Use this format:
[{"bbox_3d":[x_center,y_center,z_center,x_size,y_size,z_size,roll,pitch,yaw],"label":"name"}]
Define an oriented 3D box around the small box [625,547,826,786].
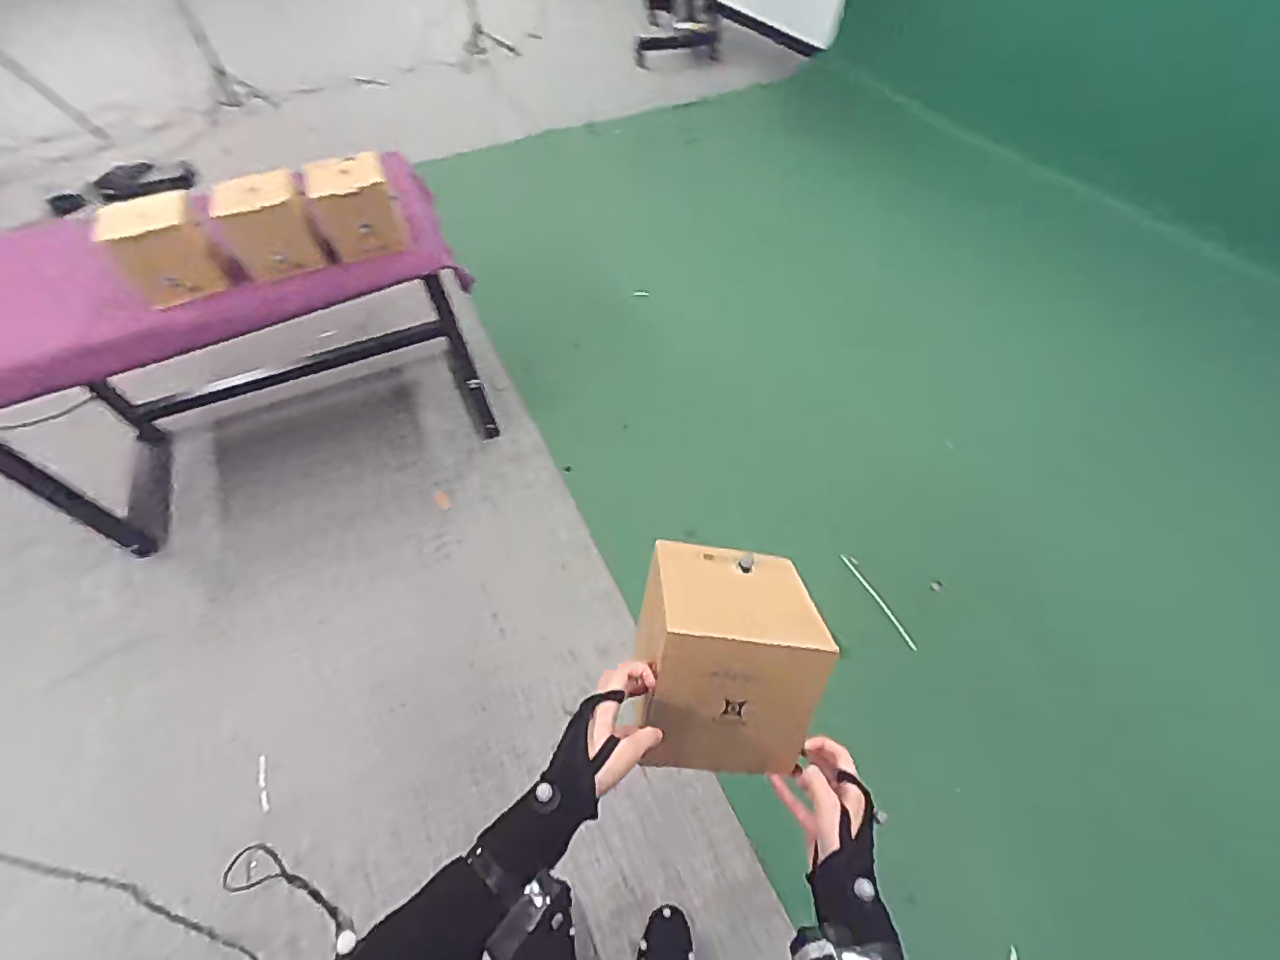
[{"bbox_3d":[0.078,0.199,0.599,0.168,0.179,0.176,8,22,-6],"label":"small box"}]
